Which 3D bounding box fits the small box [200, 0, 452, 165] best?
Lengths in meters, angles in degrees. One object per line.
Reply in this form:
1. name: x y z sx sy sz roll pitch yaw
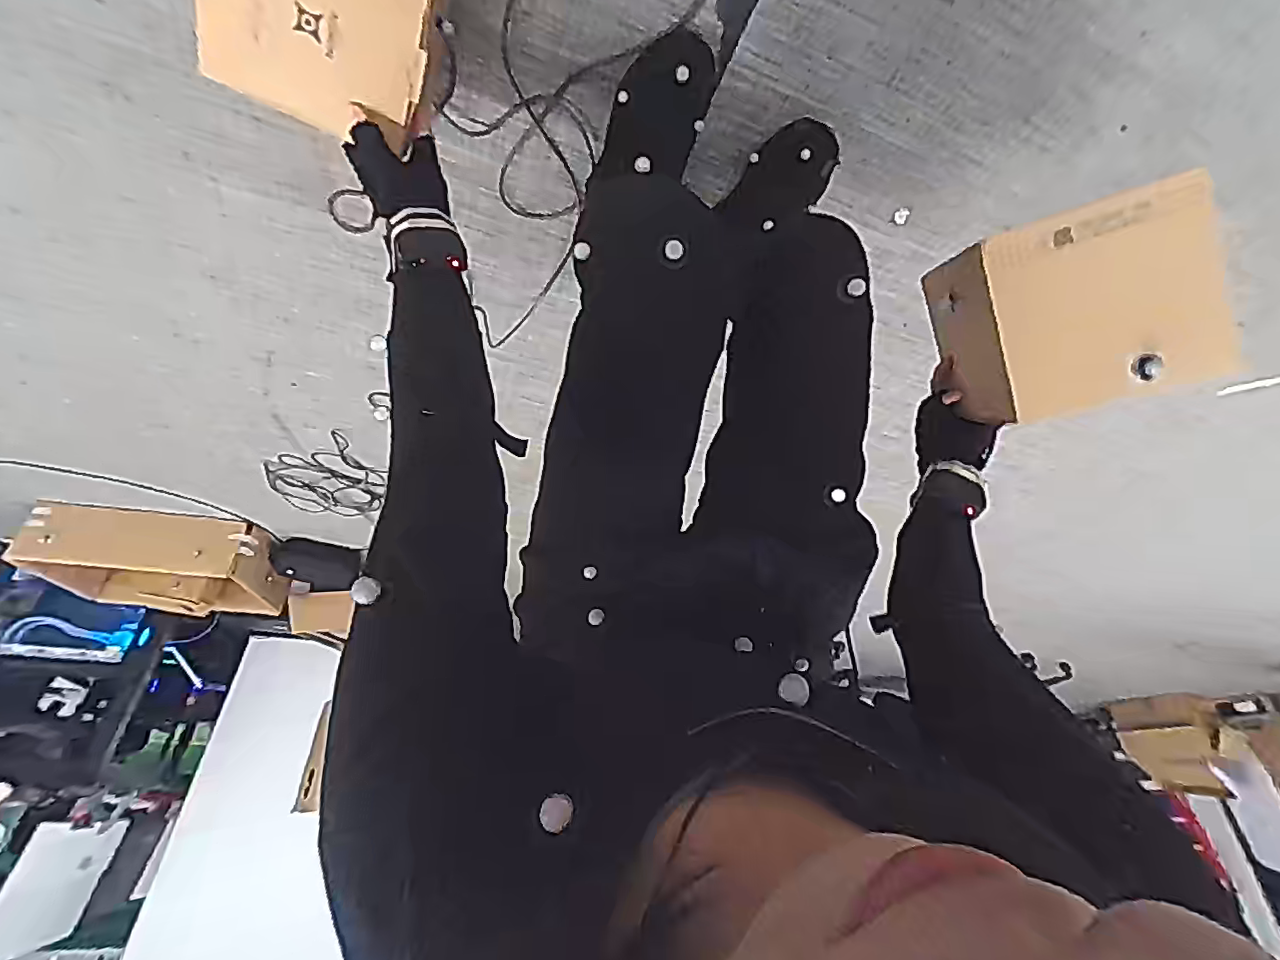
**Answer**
1. small box: -0.296 -0.456 0.534 0.179 0.176 0.168 16 131 -21
